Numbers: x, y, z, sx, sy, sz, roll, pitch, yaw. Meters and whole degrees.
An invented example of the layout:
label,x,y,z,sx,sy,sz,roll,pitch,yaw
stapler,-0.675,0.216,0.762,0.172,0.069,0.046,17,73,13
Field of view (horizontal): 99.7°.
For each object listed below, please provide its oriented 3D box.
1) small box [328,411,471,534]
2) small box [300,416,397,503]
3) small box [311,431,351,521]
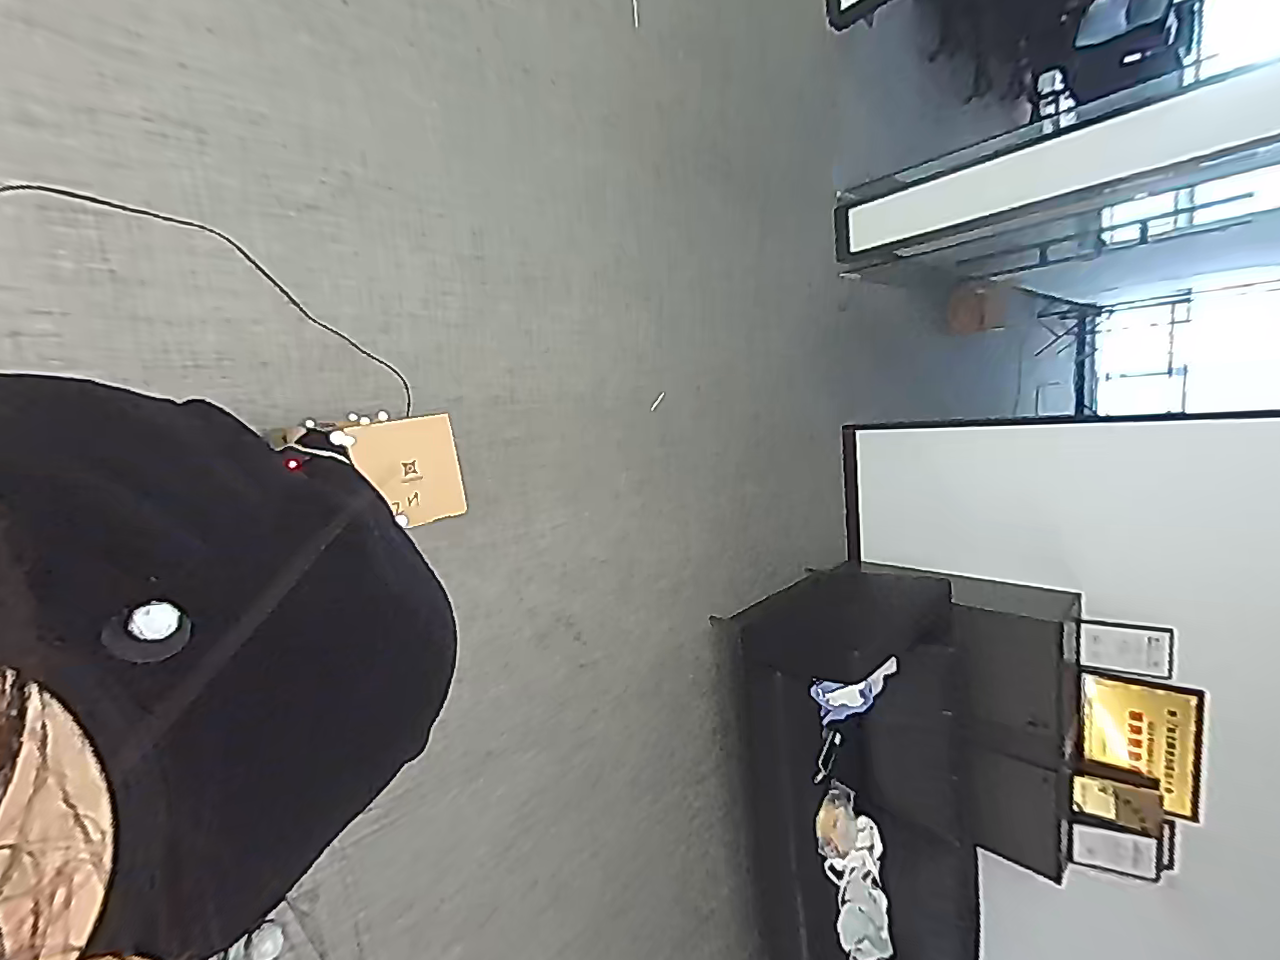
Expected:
label,x,y,z,sx,sy,sz,roll,pitch,yaw
small box,-0.417,-0.018,0.932,0.168,0.176,0.179,-15,103,-40
small box,-0.622,-0.040,1.186,0.168,0.176,0.179,-17,105,-40
small box,-0.523,-0.023,1.058,0.179,0.176,0.168,-17,104,-41
